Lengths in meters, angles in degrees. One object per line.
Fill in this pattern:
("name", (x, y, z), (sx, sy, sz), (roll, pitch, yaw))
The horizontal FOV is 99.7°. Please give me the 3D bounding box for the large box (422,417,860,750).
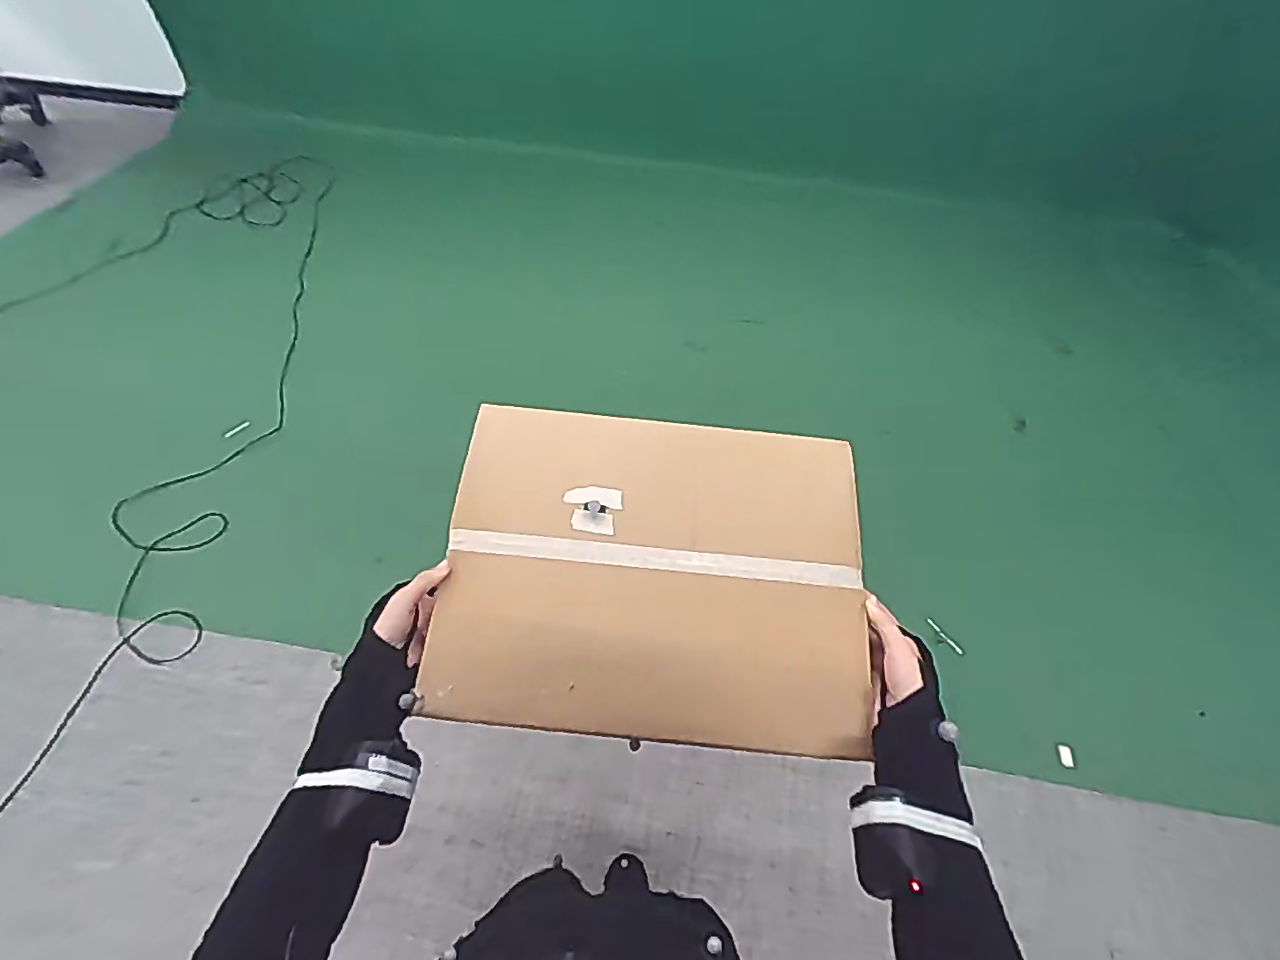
("large box", (0.009, 0.142, 0.678), (0.408, 0.320, 0.320), (6, 66, 0))
